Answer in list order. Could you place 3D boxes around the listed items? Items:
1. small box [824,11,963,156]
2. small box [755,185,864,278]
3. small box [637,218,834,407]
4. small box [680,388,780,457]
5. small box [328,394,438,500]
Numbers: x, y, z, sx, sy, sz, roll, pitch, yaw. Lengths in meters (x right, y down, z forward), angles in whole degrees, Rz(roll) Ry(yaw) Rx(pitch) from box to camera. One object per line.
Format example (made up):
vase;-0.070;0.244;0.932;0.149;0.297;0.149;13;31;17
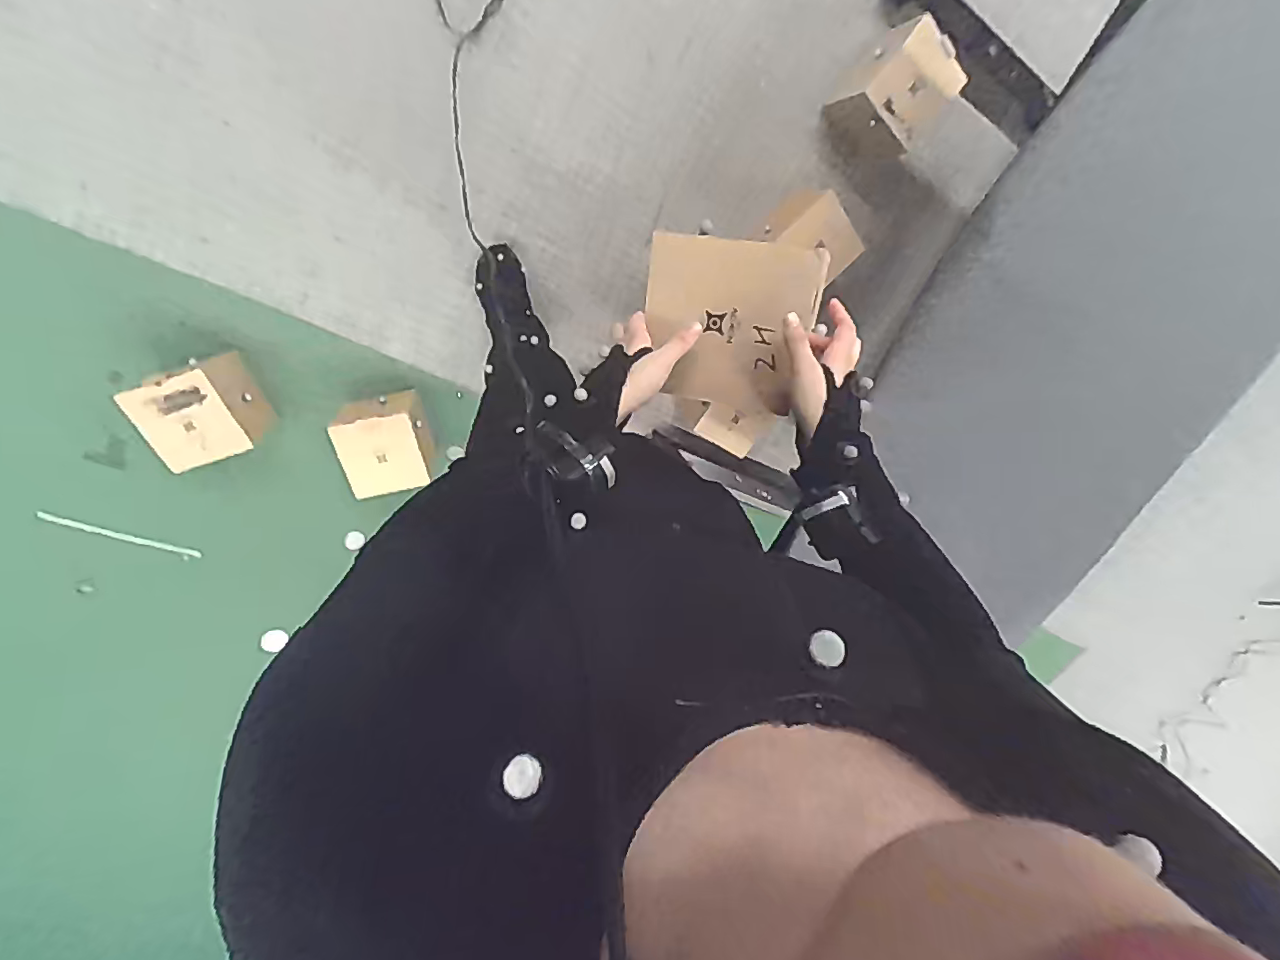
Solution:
small box;0.539;-0.840;1.169;0.168;0.176;0.179;34;102;-25
small box;0.373;-0.551;1.261;0.179;0.176;0.168;-45;118;6
small box;0.113;-0.195;0.619;0.179;0.176;0.168;13;114;16
small box;0.225;-0.193;1.388;0.168;0.176;0.179;27;106;-23
small box;-0.574;-0.081;1.237;0.168;0.176;0.179;-13;116;-8
